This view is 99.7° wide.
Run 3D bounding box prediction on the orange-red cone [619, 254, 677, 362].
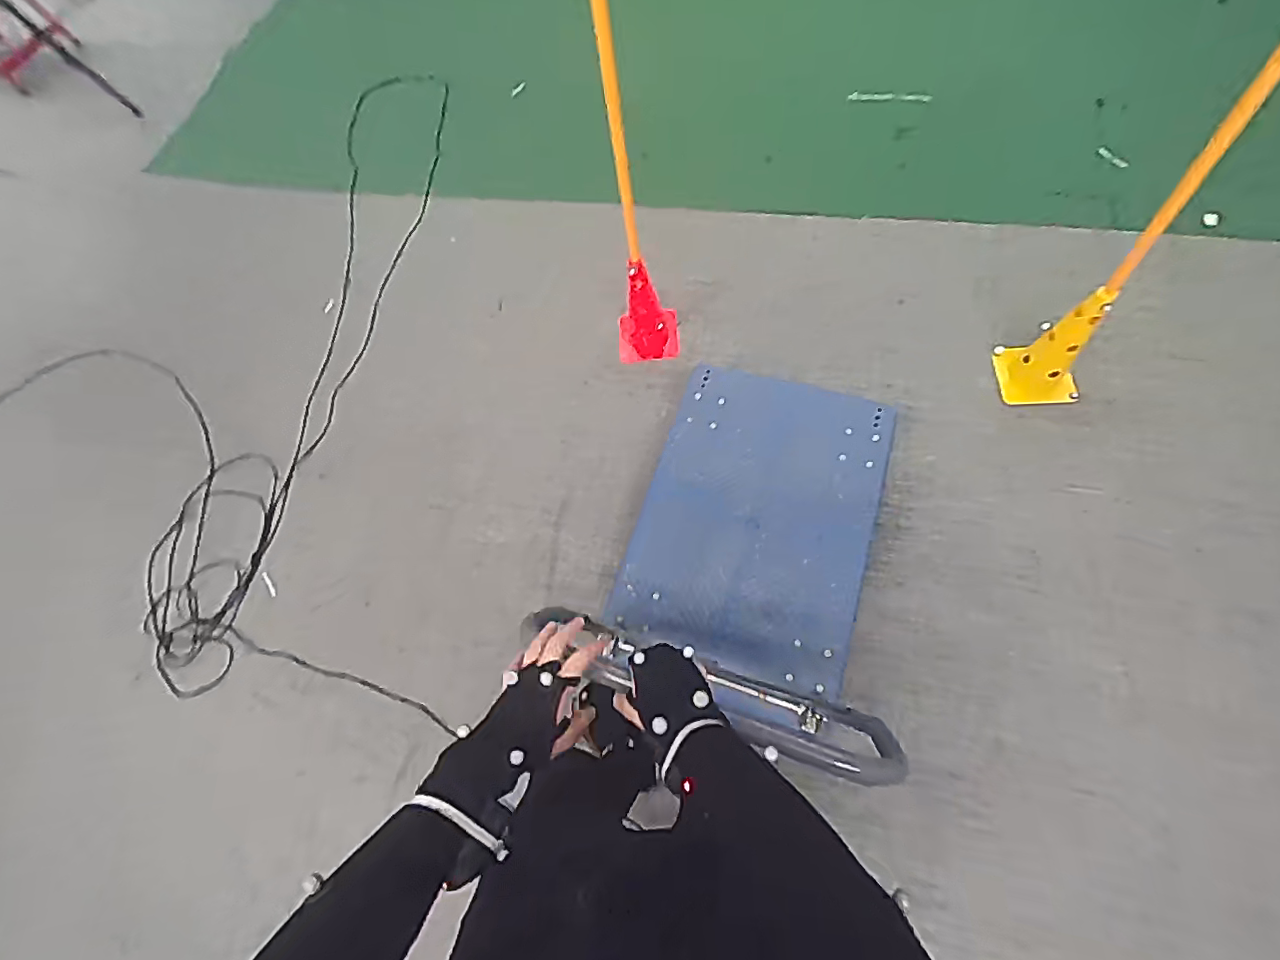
[{"bbox_3d":[0.003,-0.558,1.696,0.199,0.360,0.198,-5,66,7],"label":"orange-red cone"}]
